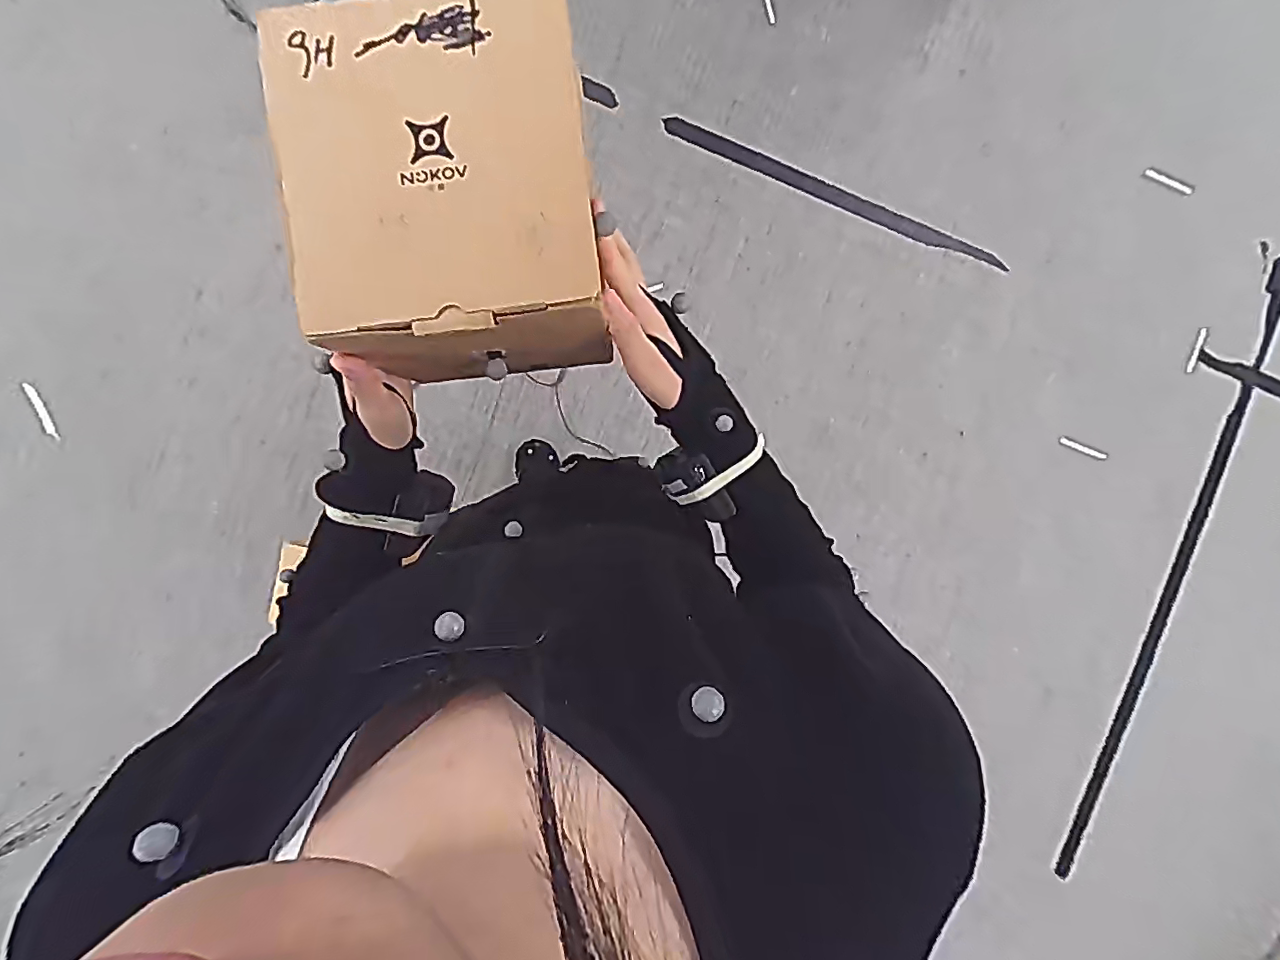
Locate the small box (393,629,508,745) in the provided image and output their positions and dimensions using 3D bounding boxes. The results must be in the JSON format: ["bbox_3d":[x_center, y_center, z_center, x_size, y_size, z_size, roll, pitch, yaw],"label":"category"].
[{"bbox_3d":[-0.419,0.458,1.227,0.179,0.176,0.168,23,91,-6],"label":"small box"}]

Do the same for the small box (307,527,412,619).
[{"bbox_3d":[-0.694,0.225,1.362,0.168,0.176,0.179,14,92,-5],"label":"small box"}]

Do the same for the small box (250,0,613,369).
[{"bbox_3d":[-0.110,-0.174,0.360,0.168,0.176,0.179,-7,92,-1],"label":"small box"}]

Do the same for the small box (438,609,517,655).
[{"bbox_3d":[-0.433,0.448,1.391,0.179,0.176,0.168,22,91,-6],"label":"small box"}]
